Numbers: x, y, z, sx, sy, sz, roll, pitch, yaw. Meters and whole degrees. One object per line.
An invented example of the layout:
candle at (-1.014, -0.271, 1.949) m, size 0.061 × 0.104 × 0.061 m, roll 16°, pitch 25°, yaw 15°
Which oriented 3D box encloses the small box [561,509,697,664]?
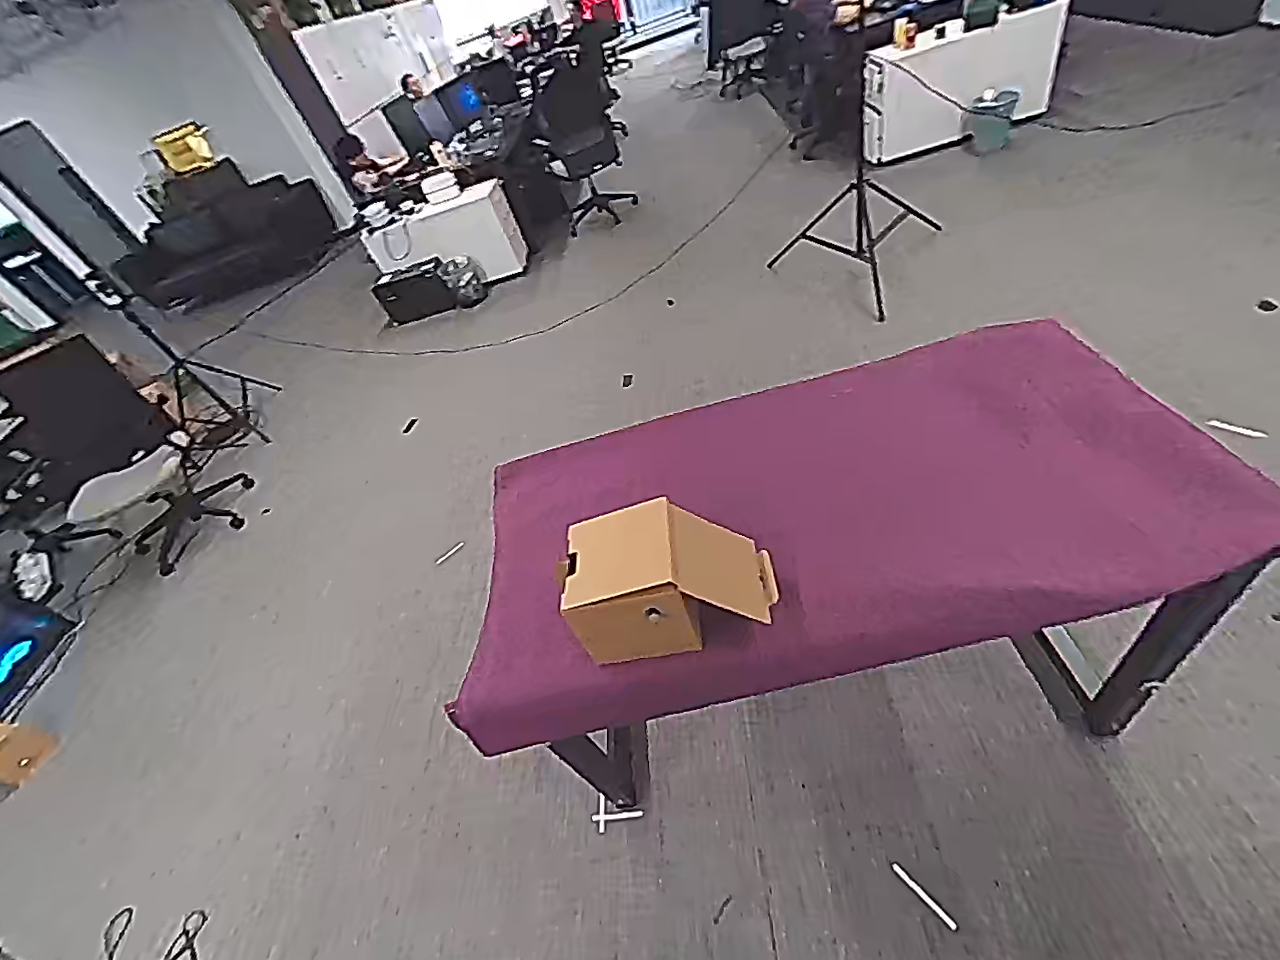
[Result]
small box at (-0.008, 0.174, 0.869) m, size 0.179 × 0.176 × 0.168 m, roll -12°, pitch 41°, yaw 11°
